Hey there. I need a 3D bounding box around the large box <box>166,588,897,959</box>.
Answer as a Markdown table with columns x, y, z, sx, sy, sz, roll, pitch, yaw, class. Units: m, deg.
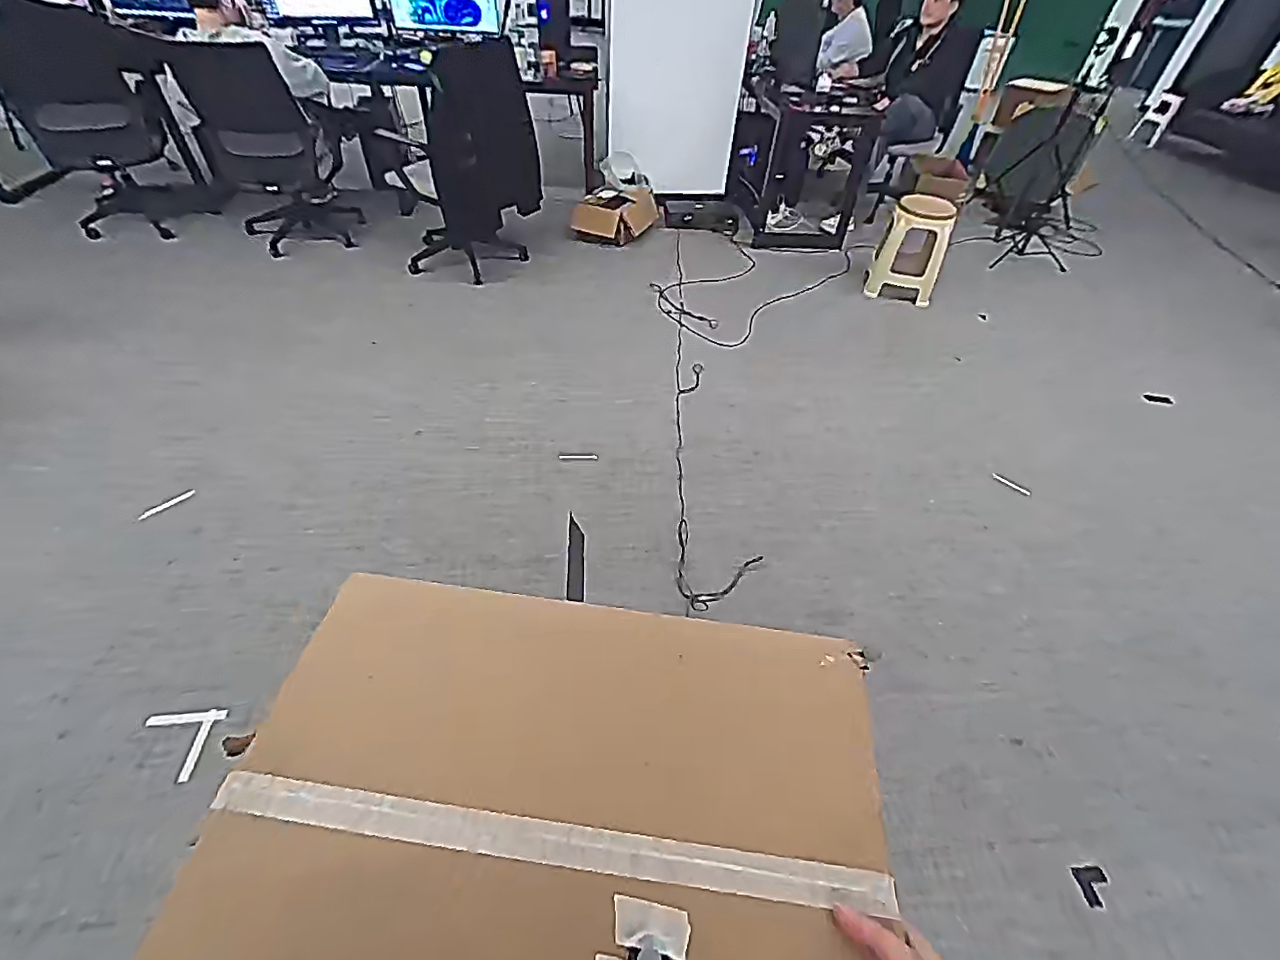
| x | y | z | sx | sy | sz | roll | pitch | yaw | class |
| --- | --- | --- | --- | --- | --- | --- | --- | --- | --- |
| -0.056 | 0.319 | 0.444 | 0.408 | 0.320 | 0.320 | 7 | 50 | 3 | large box |
